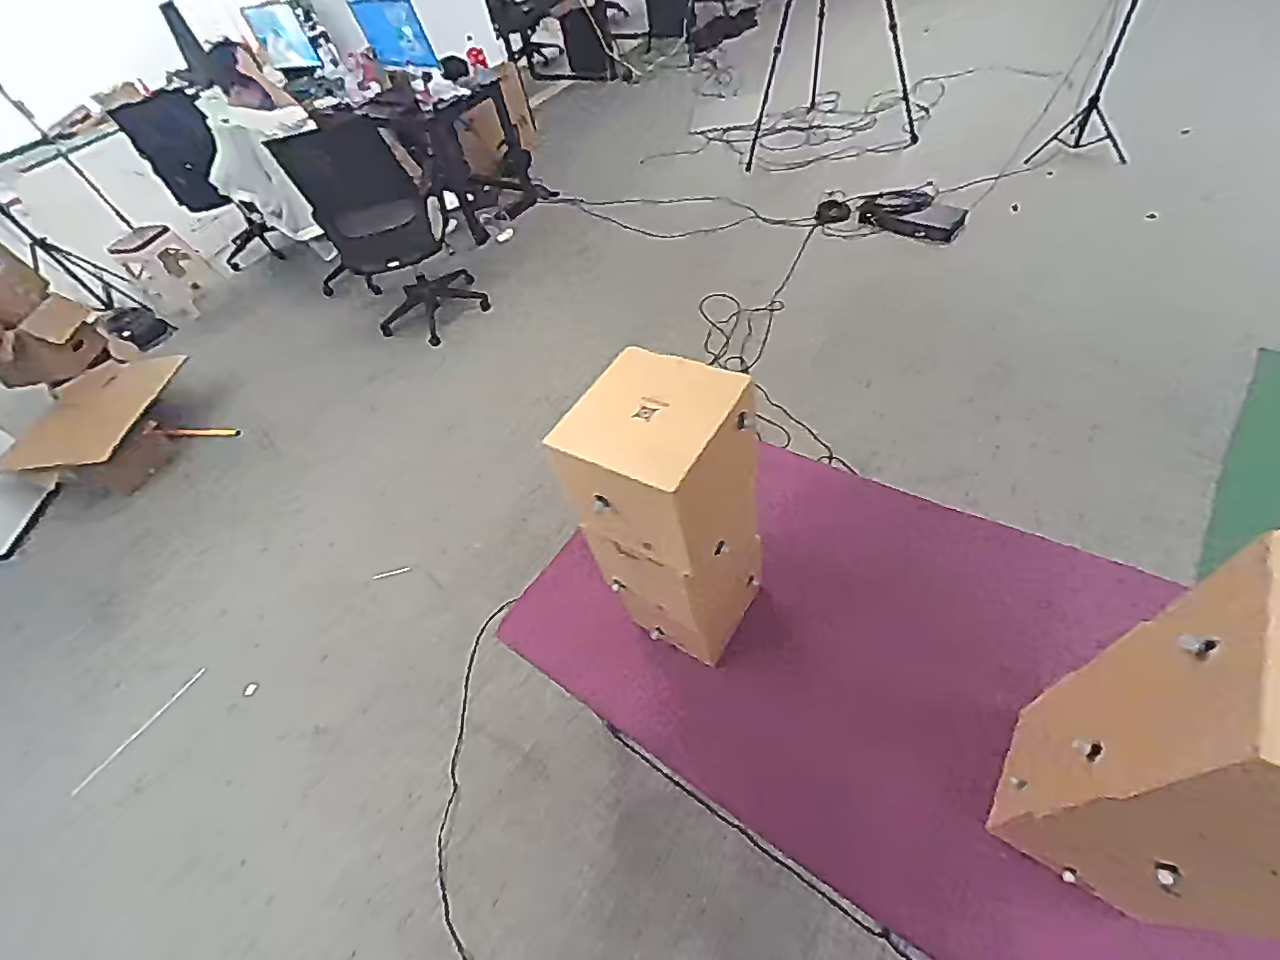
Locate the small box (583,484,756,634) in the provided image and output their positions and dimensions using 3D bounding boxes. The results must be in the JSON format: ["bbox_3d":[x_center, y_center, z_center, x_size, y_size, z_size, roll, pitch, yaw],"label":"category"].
[{"bbox_3d":[0.052,0.081,0.751,0.168,0.176,0.179,24,59,29],"label":"small box"}]

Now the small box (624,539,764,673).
[{"bbox_3d":[0.088,0.177,0.879,0.168,0.176,0.179,24,60,29],"label":"small box"}]

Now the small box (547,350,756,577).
[{"bbox_3d":[0.028,-0.018,0.625,0.168,0.176,0.179,21,58,28],"label":"small box"}]
